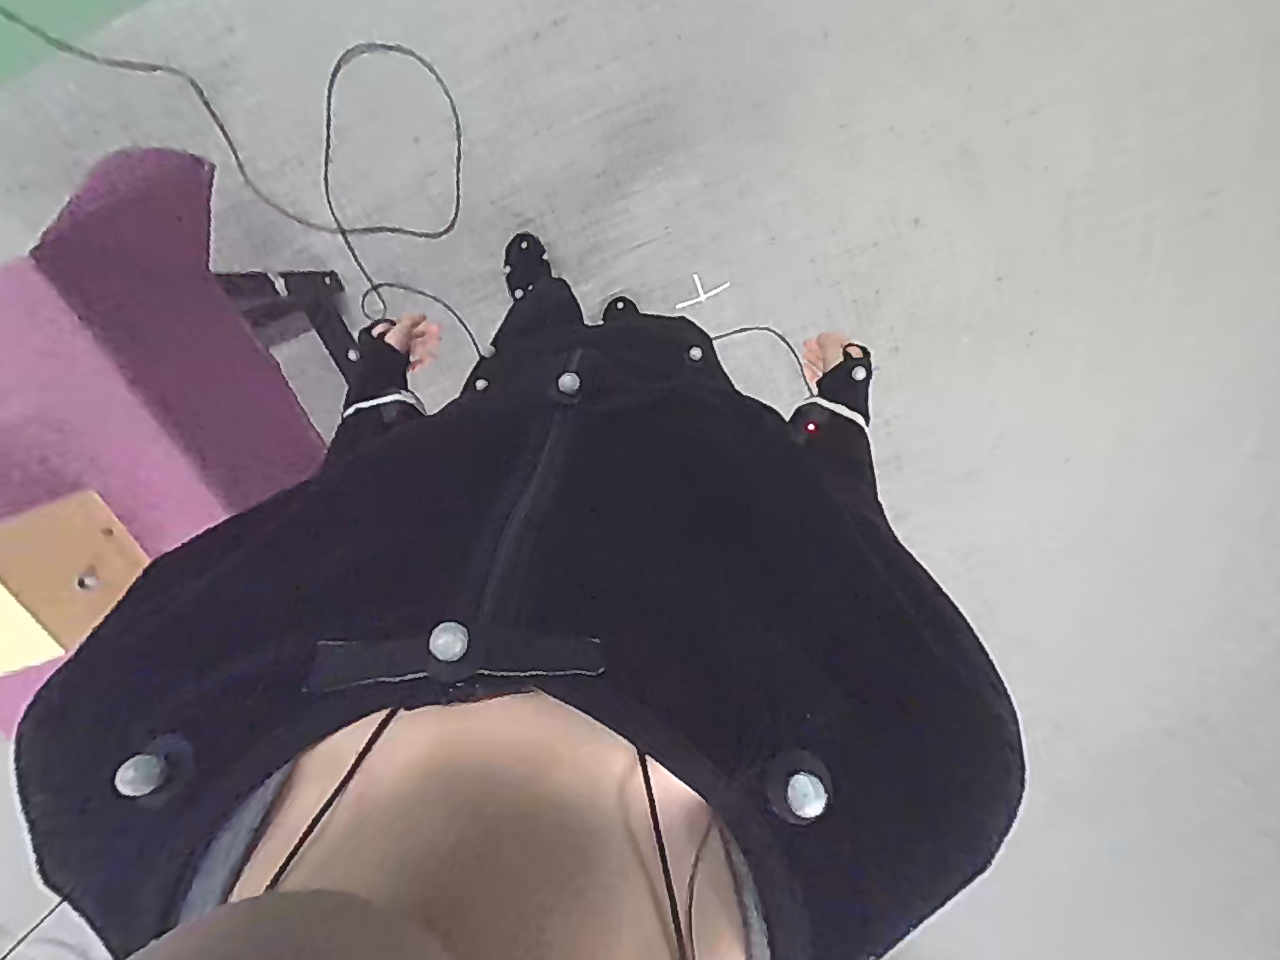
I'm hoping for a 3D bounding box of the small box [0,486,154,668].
[{"bbox_3d":[-0.812,0.128,0.718,0.179,0.176,0.168,-18,111,7],"label":"small box"}]
